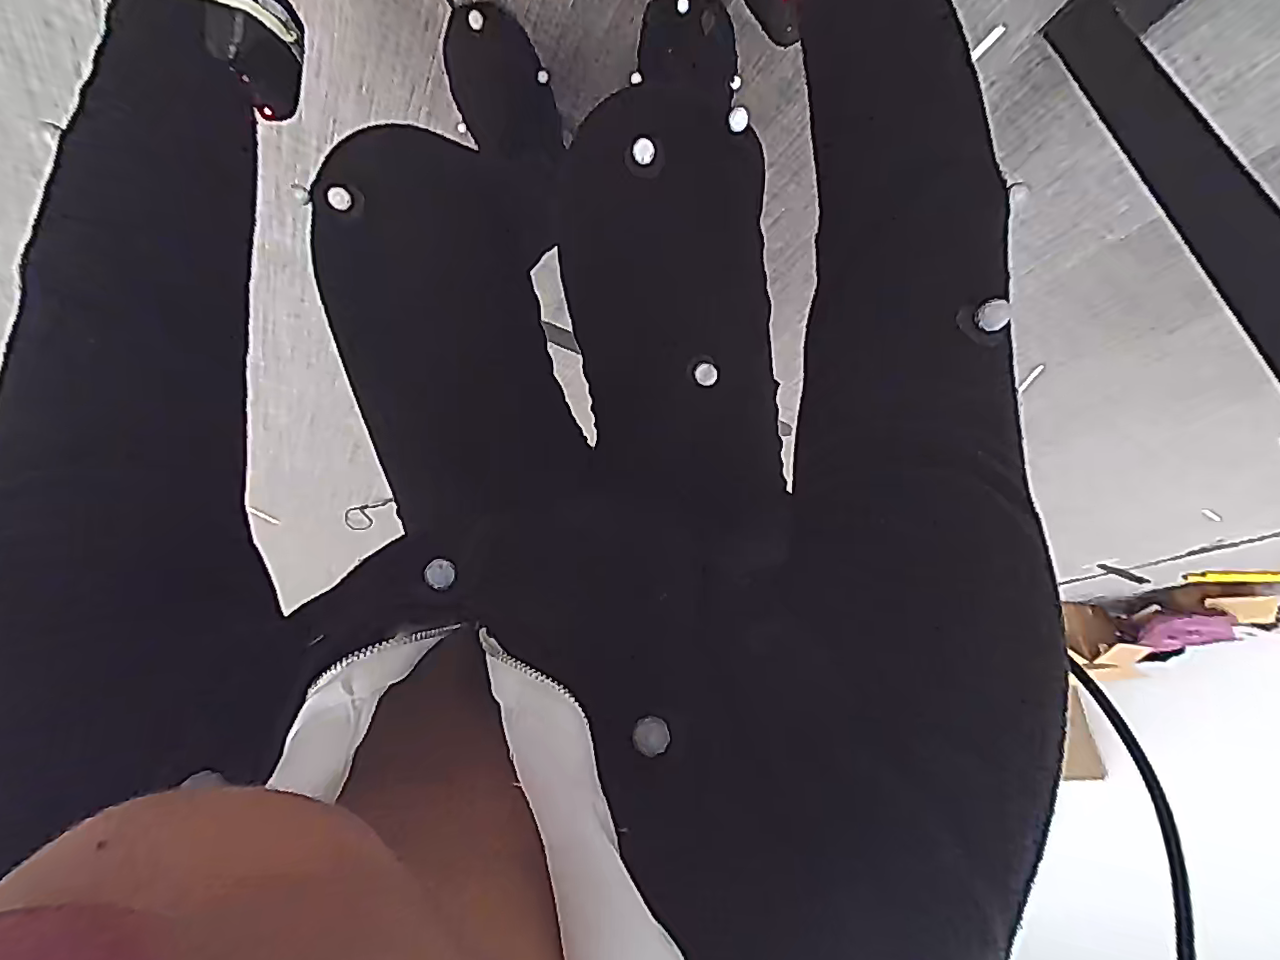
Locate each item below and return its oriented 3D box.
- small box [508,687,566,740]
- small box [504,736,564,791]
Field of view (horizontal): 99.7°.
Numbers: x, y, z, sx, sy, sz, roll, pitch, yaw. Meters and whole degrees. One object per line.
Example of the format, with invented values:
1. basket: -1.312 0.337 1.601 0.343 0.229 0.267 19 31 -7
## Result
1. small box: -0.391 0.889 2.052 0.179 0.176 0.168 12 146 -21
2. small box: -0.382 1.028 1.963 0.179 0.176 0.168 12 146 -22
